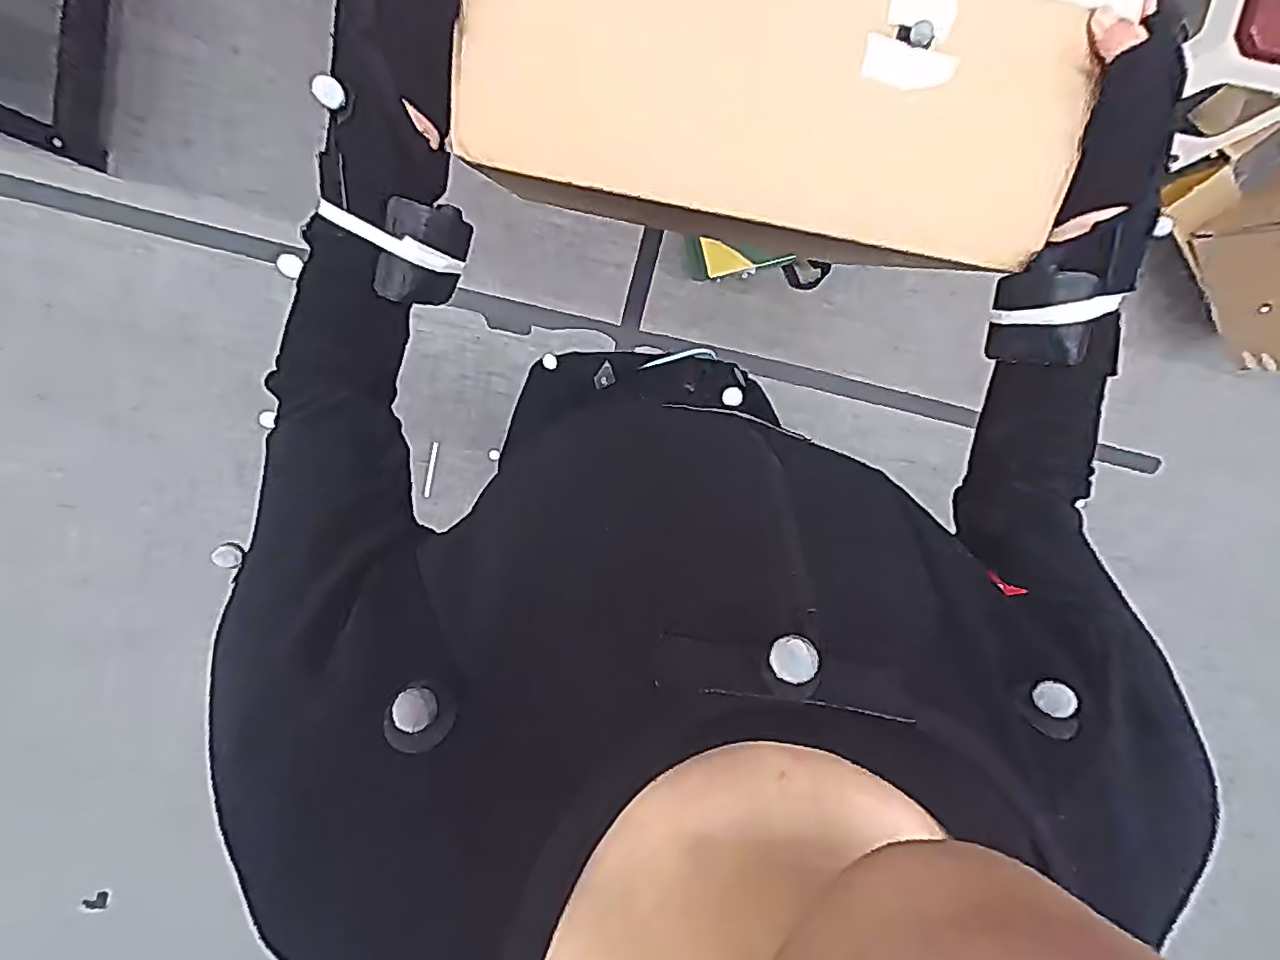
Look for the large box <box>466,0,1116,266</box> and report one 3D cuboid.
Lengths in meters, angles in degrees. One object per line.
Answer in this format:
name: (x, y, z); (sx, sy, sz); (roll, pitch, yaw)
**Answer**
large box: (0.091, -0.380, 0.455); (0.408, 0.320, 0.320); (8, 114, -8)
